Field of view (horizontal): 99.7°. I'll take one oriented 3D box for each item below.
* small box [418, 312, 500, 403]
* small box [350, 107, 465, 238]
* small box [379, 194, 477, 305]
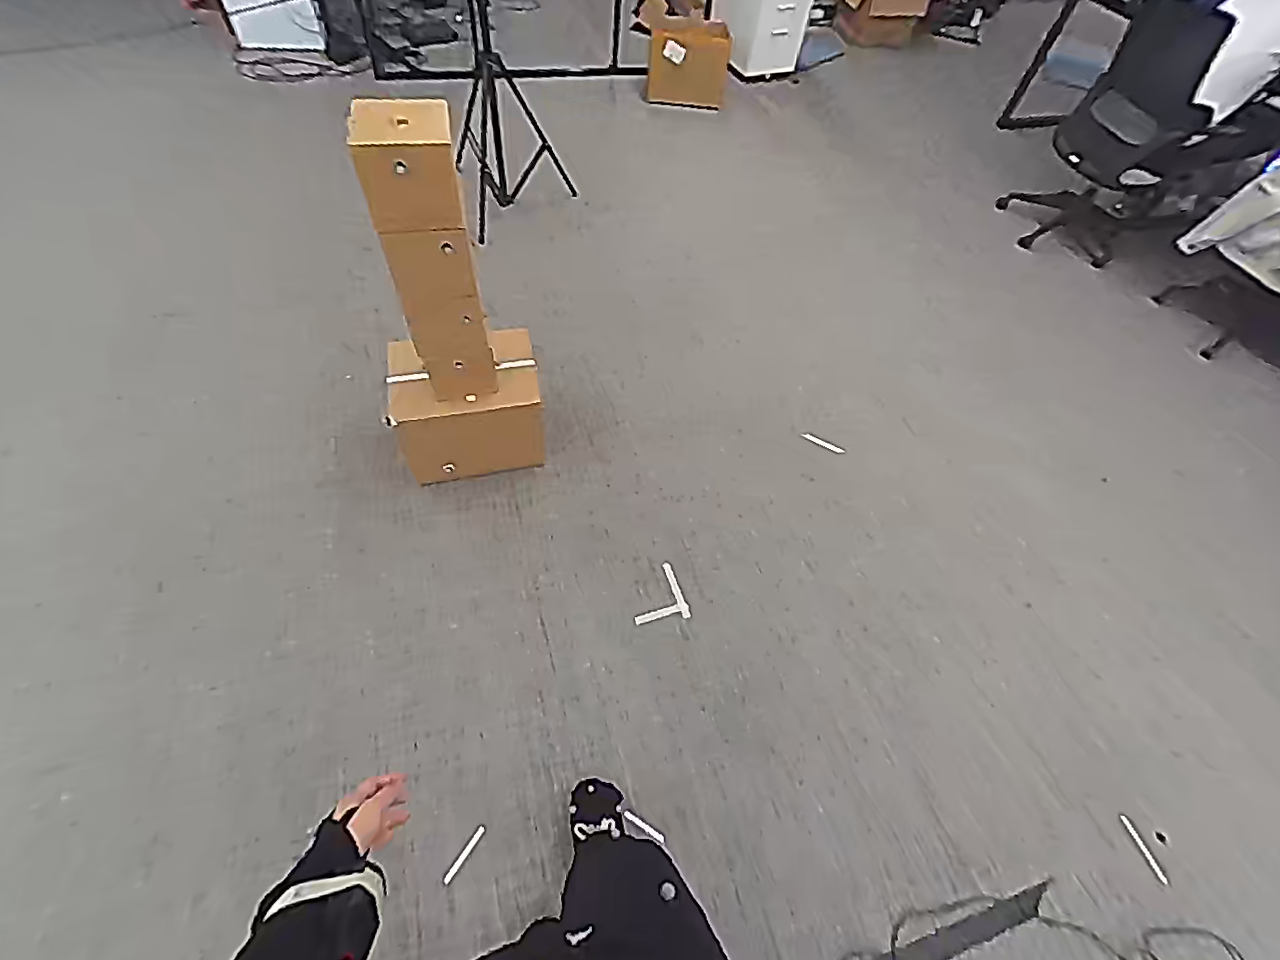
[{"bbox_3d":[-0.489,-0.329,1.472,0.179,0.176,0.168,-12,60,-15],"label":"small box"},{"bbox_3d":[-0.447,-0.600,1.064,0.179,0.176,0.168,-9,59,-11],"label":"small box"},{"bbox_3d":[-0.462,-0.510,1.199,0.179,0.176,0.168,-9,58,-12],"label":"small box"}]
